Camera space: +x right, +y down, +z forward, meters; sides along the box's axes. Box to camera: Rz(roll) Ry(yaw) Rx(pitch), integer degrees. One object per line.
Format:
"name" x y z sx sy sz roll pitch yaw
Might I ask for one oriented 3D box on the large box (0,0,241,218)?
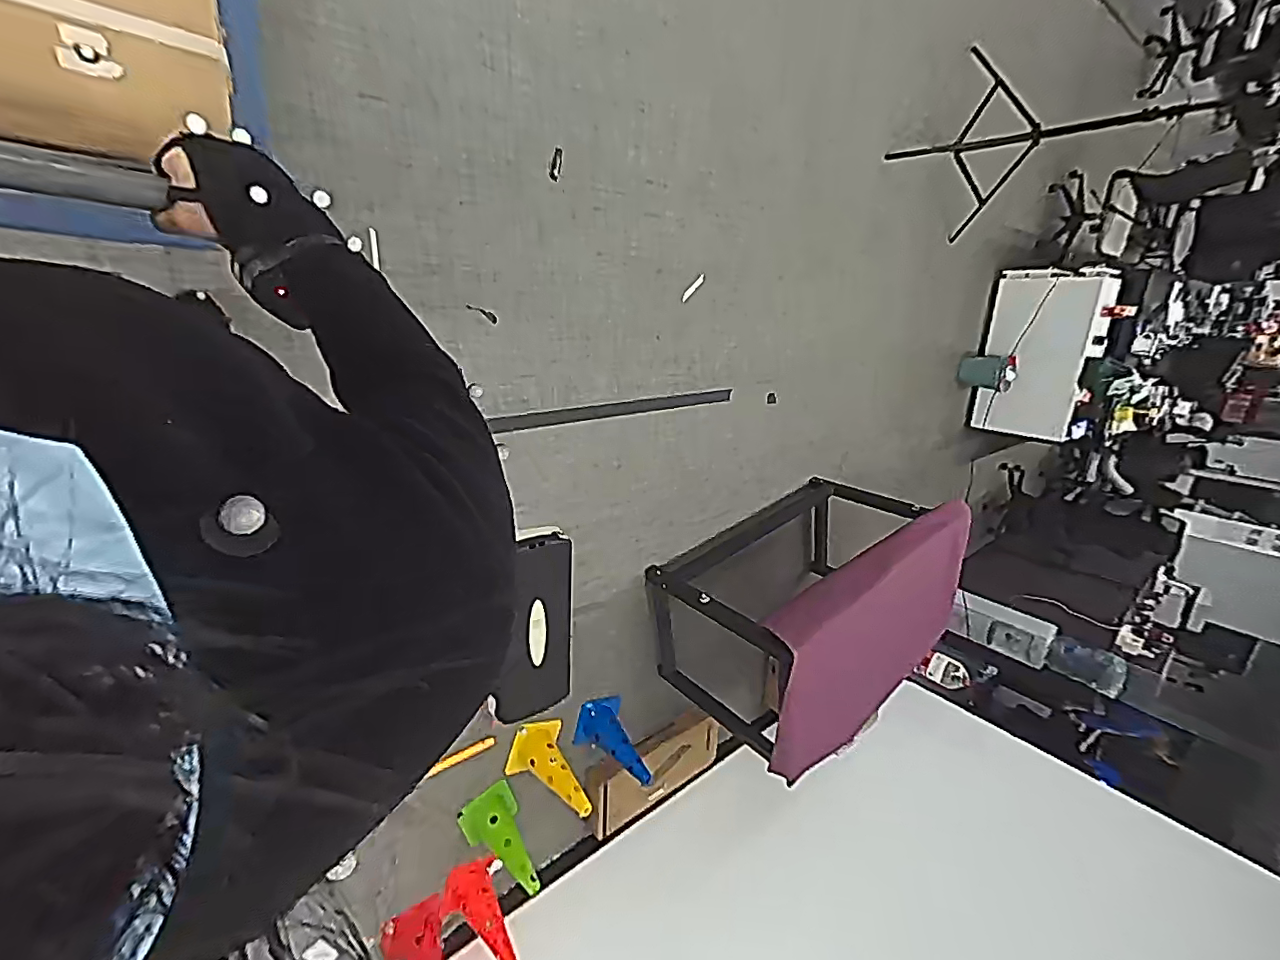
"large box" -0.807 -0.562 0.712 0.408 0.320 0.320 -9 110 -39
